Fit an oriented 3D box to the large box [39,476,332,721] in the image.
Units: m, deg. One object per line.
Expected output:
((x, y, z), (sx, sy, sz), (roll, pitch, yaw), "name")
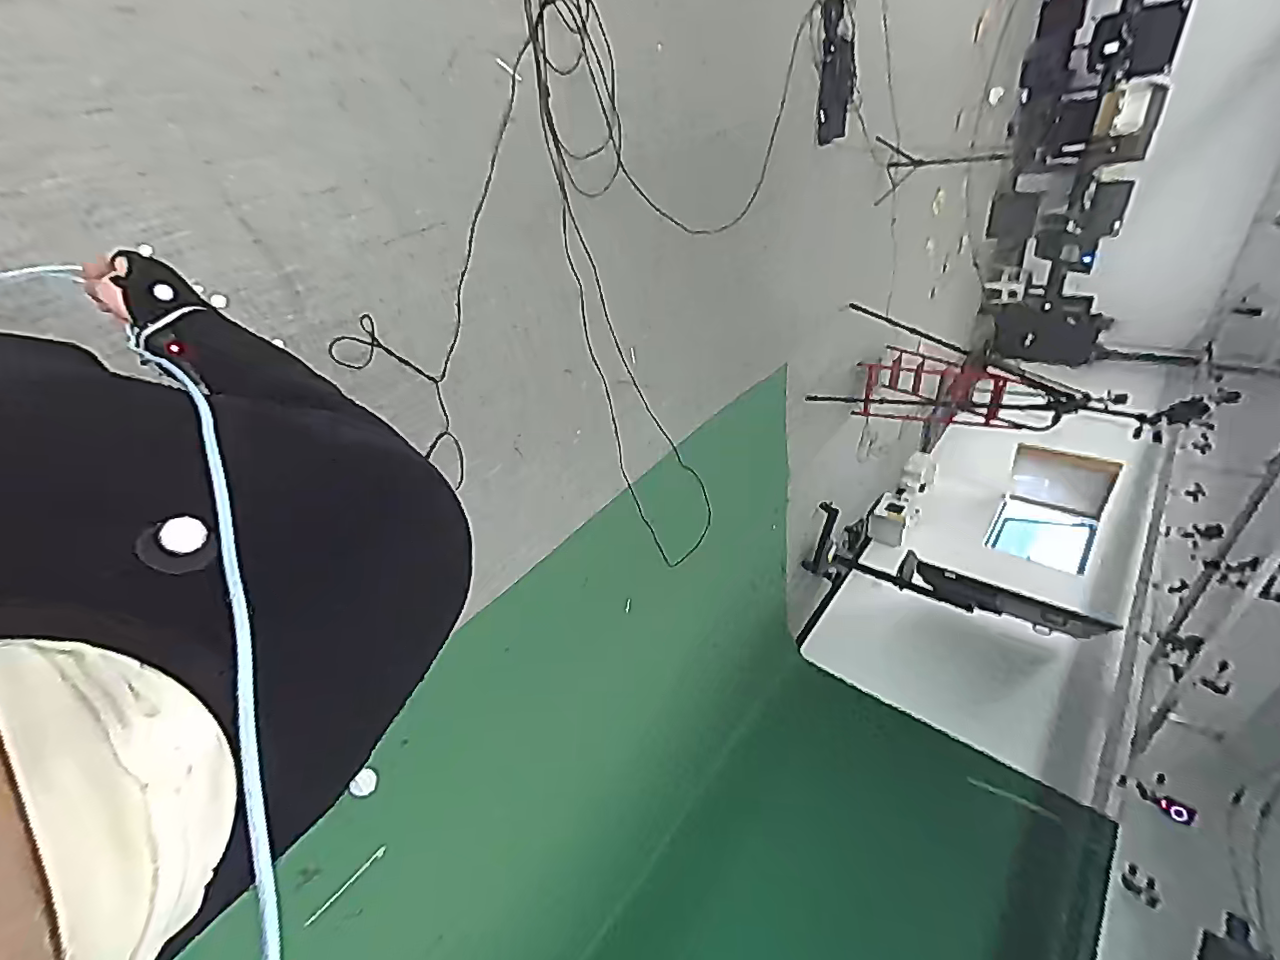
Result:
((-1.049, 0.256, 1.278), (0.408, 0.320, 0.320), (-41, 134, -31), "large box")
